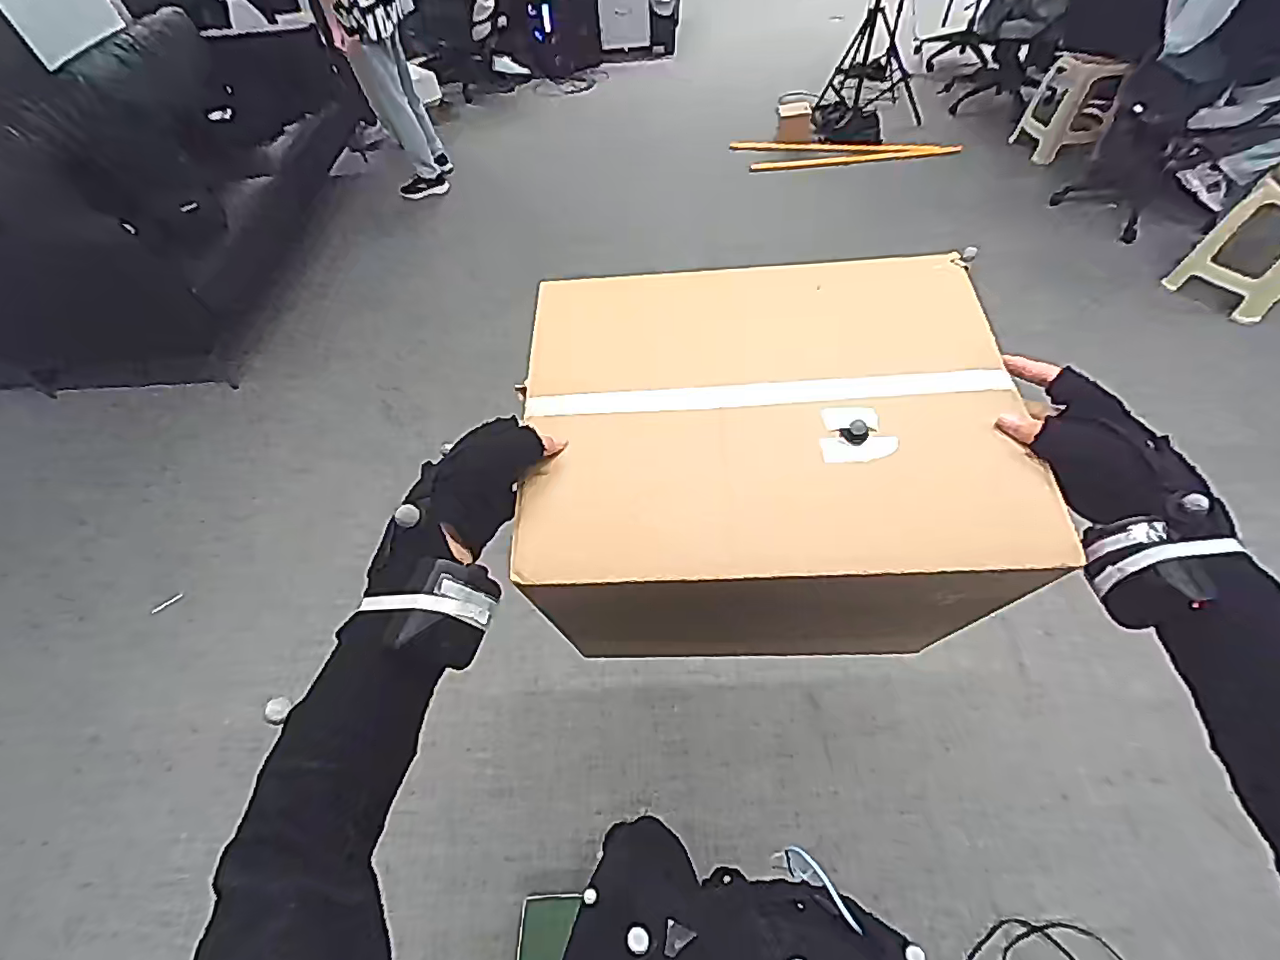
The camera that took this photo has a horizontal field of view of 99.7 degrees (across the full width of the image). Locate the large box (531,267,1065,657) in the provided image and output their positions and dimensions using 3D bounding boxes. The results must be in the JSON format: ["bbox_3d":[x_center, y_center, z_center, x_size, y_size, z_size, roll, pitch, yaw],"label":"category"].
[{"bbox_3d":[0.118,0.003,0.601,0.408,0.320,0.320,-2,62,3],"label":"large box"}]
